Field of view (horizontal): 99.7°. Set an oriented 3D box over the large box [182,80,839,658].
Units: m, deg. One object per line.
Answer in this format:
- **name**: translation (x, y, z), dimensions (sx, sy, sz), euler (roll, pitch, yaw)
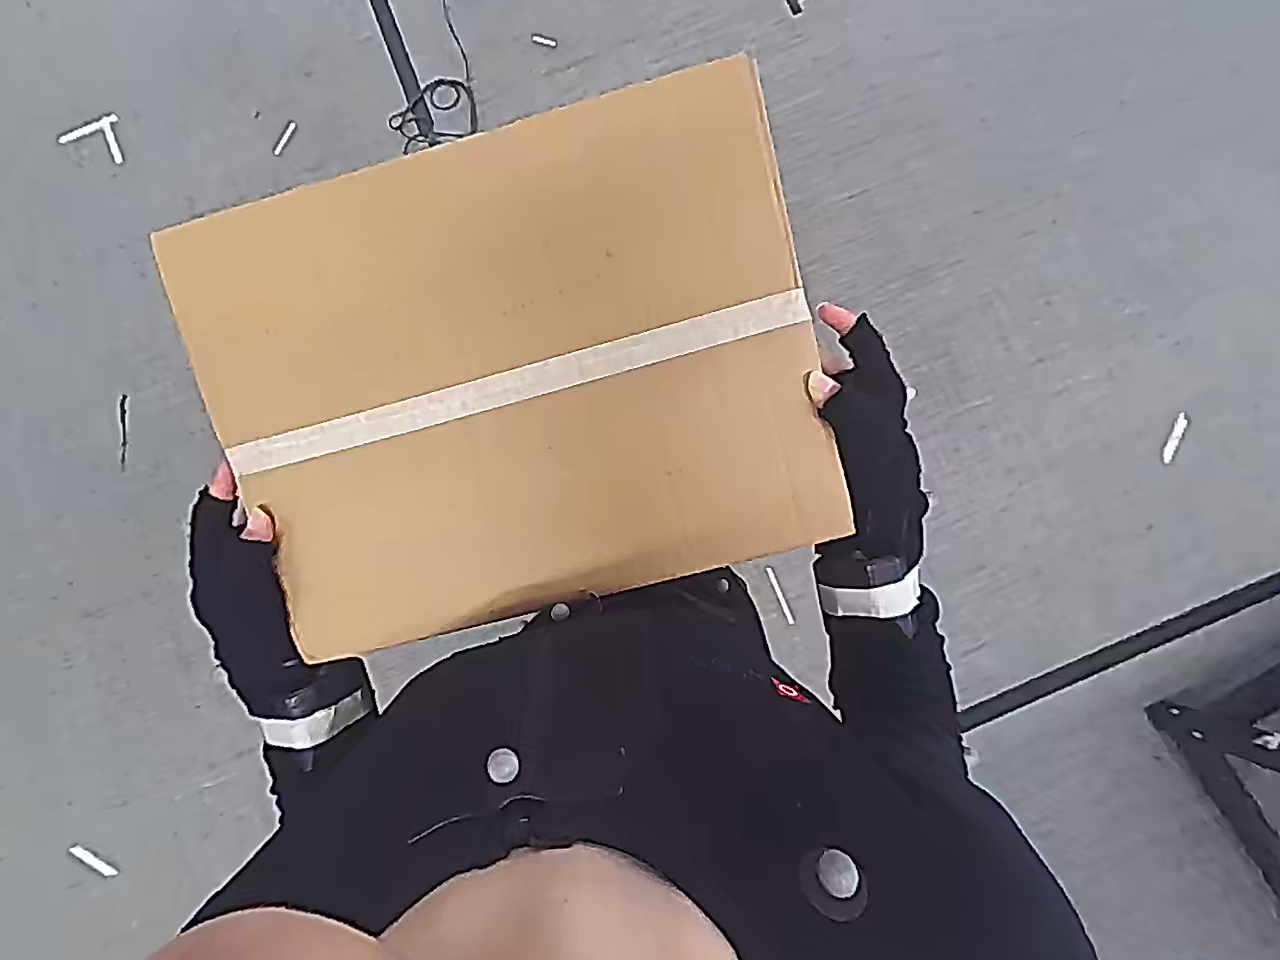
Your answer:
- **large box**: translation (-0.081, -0.082, 0.523), dimensions (0.408, 0.320, 0.320), euler (-14, 96, 4)
